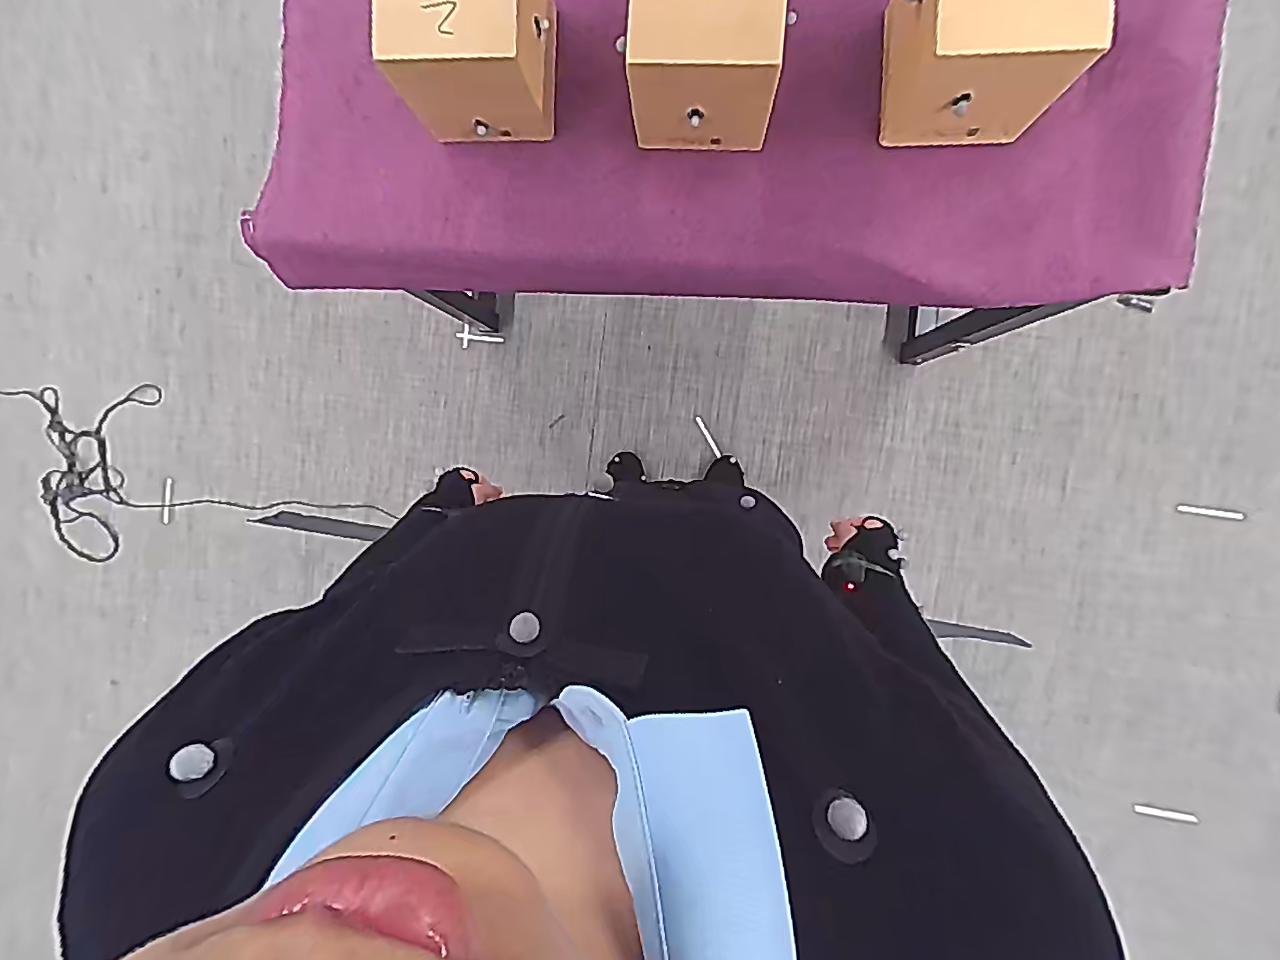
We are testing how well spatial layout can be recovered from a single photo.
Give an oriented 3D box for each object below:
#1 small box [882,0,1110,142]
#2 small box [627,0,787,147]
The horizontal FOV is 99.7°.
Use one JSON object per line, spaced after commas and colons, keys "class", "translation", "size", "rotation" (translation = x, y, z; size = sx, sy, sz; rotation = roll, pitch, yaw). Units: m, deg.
{"class": "small box", "translation": [0.390, -0.515, 0.616], "size": [0.168, 0.176, 0.179], "rotation": [2, 92, 6]}
{"class": "small box", "translation": [0.081, -0.528, 0.643], "size": [0.168, 0.176, 0.179], "rotation": [5, 93, 4]}
